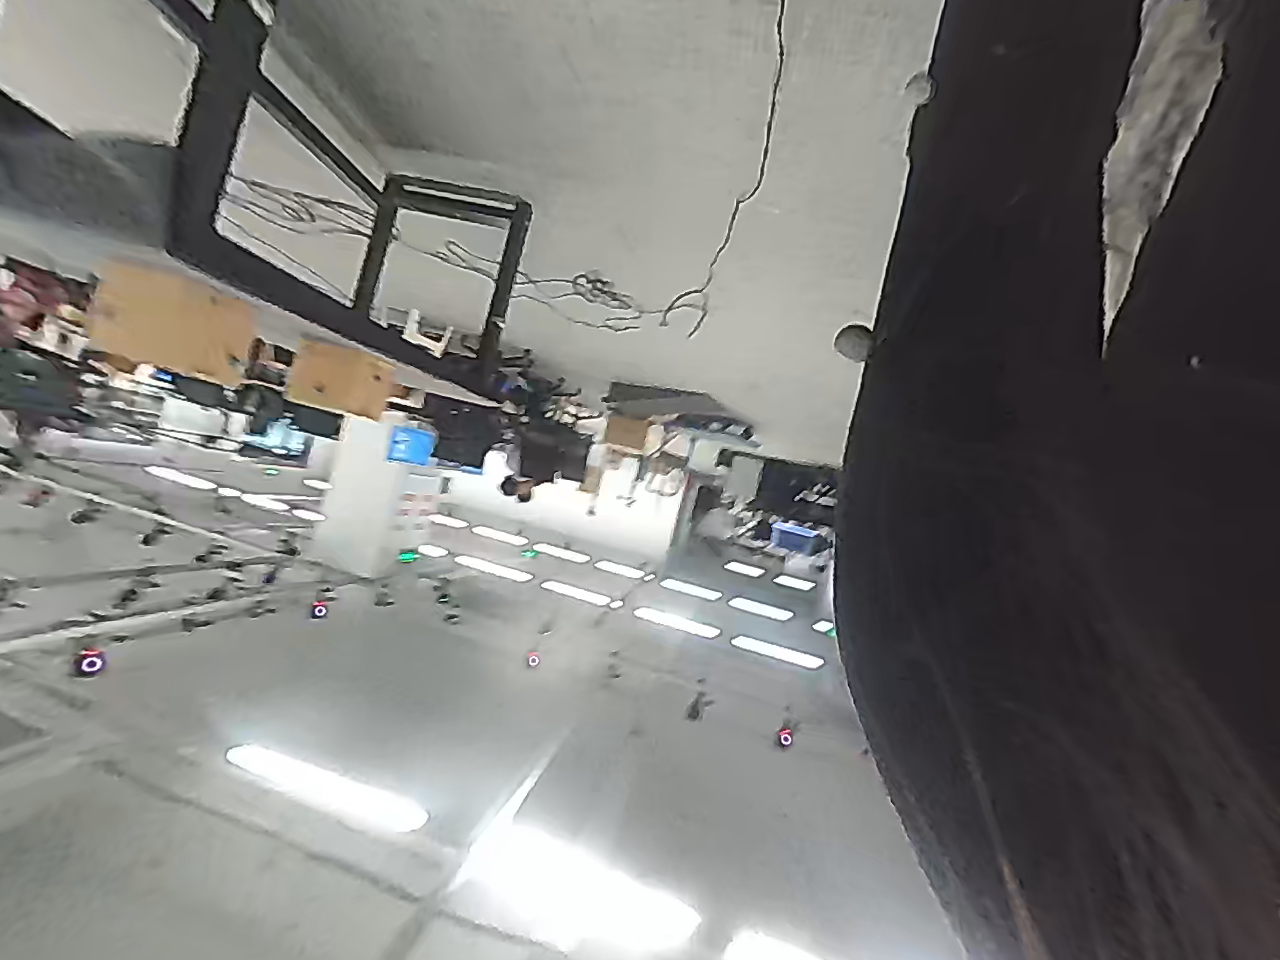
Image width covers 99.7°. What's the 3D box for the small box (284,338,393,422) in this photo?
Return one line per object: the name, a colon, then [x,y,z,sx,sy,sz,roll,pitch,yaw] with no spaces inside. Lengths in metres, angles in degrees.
small box: [-0.799,-0.268,1.448,0.179,0.176,0.168,13,179,8]
